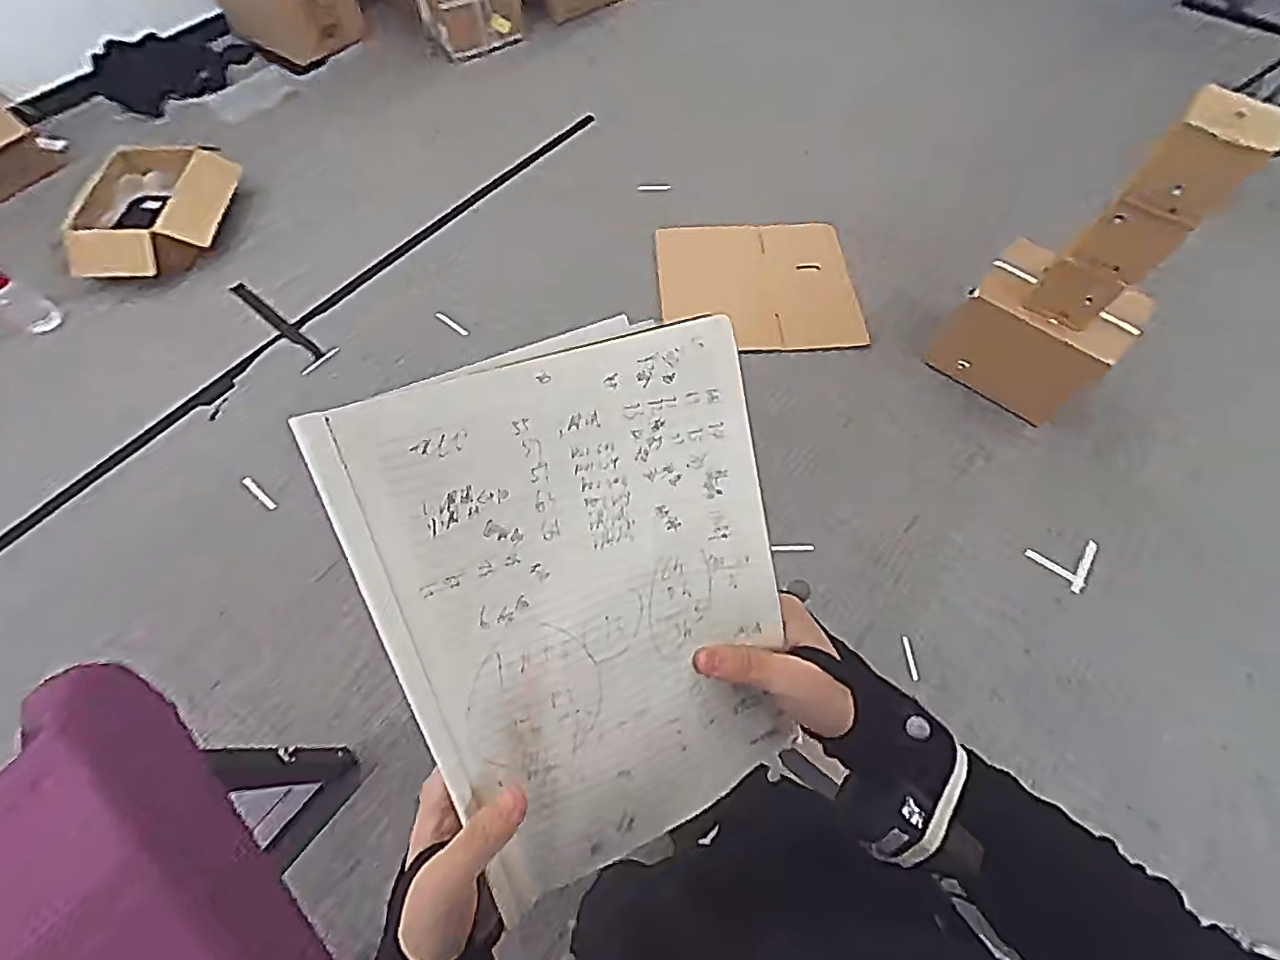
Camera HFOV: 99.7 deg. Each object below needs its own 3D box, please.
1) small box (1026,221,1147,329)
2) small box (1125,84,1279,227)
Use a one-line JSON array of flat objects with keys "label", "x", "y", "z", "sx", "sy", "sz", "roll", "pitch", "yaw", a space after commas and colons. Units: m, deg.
[{"label": "small box", "x": 1.172, "y": -0.537, "z": 1.434, "sx": 0.168, "sy": 0.176, "sz": 0.179, "roll": 33, "pitch": 68, "yaw": 14}, {"label": "small box", "x": 1.182, "y": -0.677, "z": 1.136, "sx": 0.168, "sy": 0.176, "sz": 0.179, "roll": 35, "pitch": 69, "yaw": 16}]
